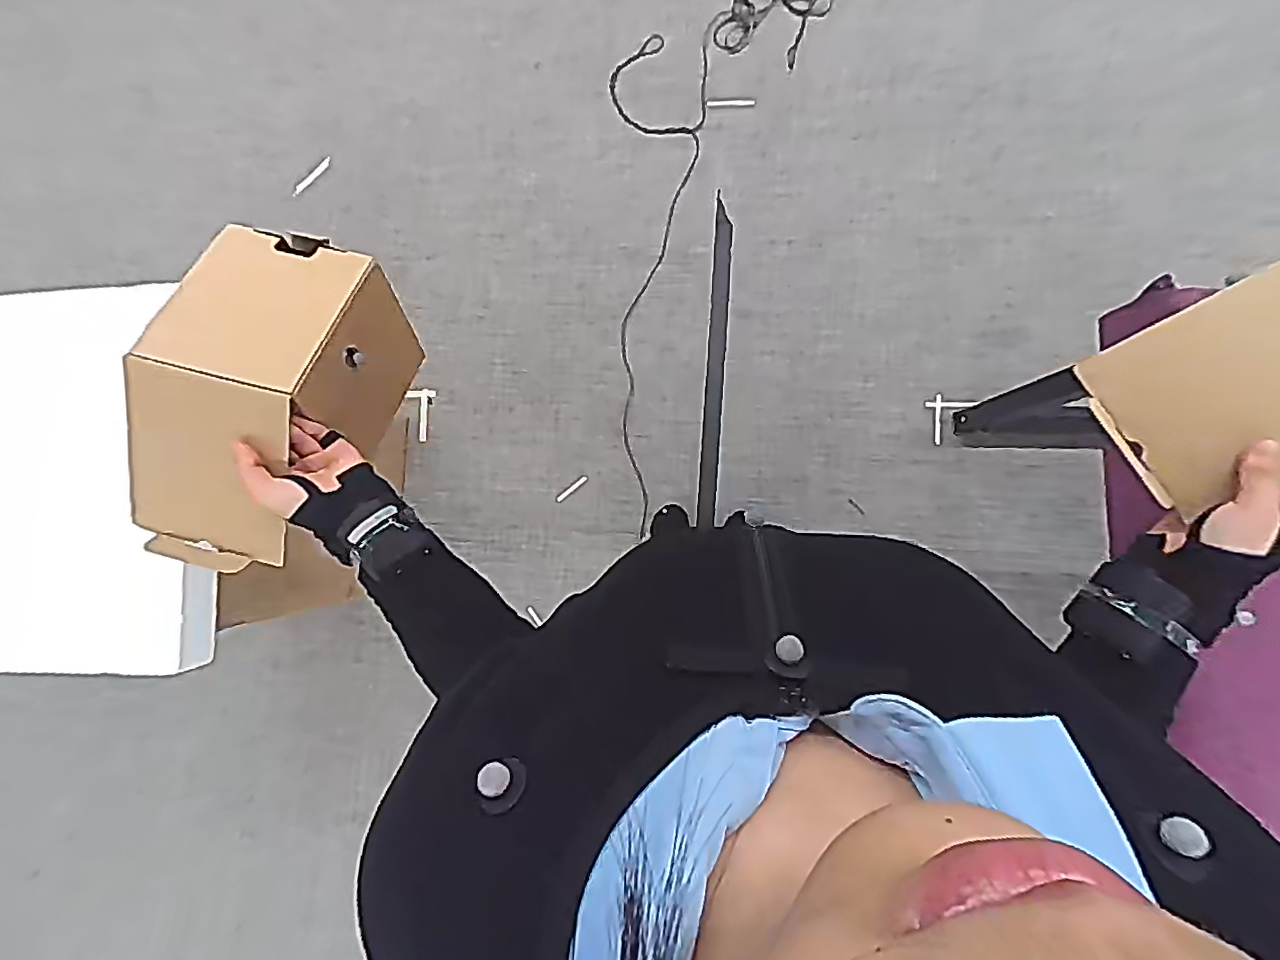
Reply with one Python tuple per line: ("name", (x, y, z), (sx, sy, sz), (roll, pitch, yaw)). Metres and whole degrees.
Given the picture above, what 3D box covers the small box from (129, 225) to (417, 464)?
("small box", (-0.374, -0.138, 0.597), (0.168, 0.176, 0.179), (14, 66, 3))
